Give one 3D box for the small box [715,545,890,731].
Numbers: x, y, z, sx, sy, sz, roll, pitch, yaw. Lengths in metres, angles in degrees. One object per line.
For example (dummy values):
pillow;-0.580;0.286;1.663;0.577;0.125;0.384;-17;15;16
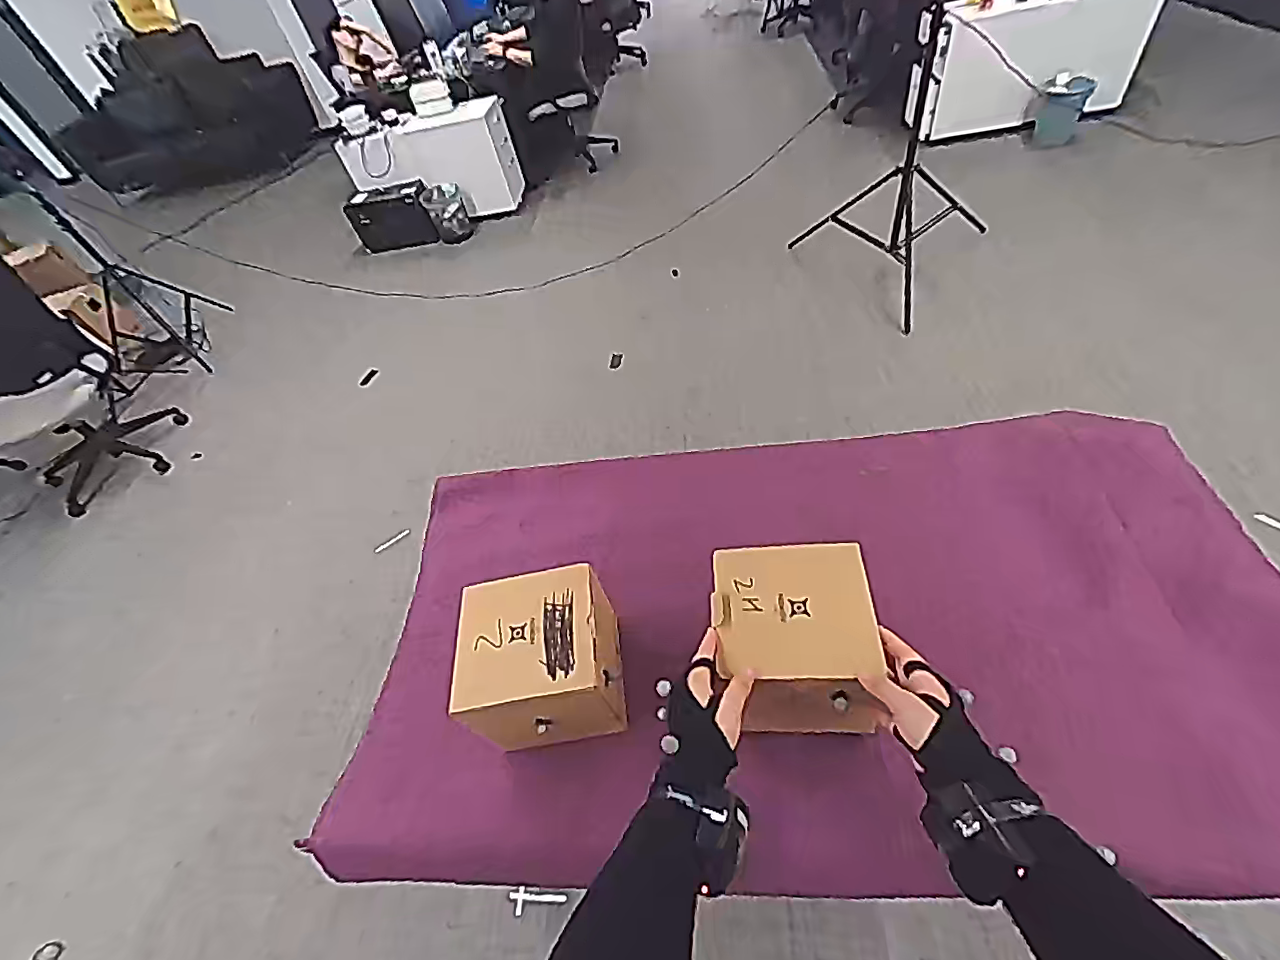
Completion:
small box;0.188;0.196;0.663;0.179;0.176;0.168;-5;48;13
